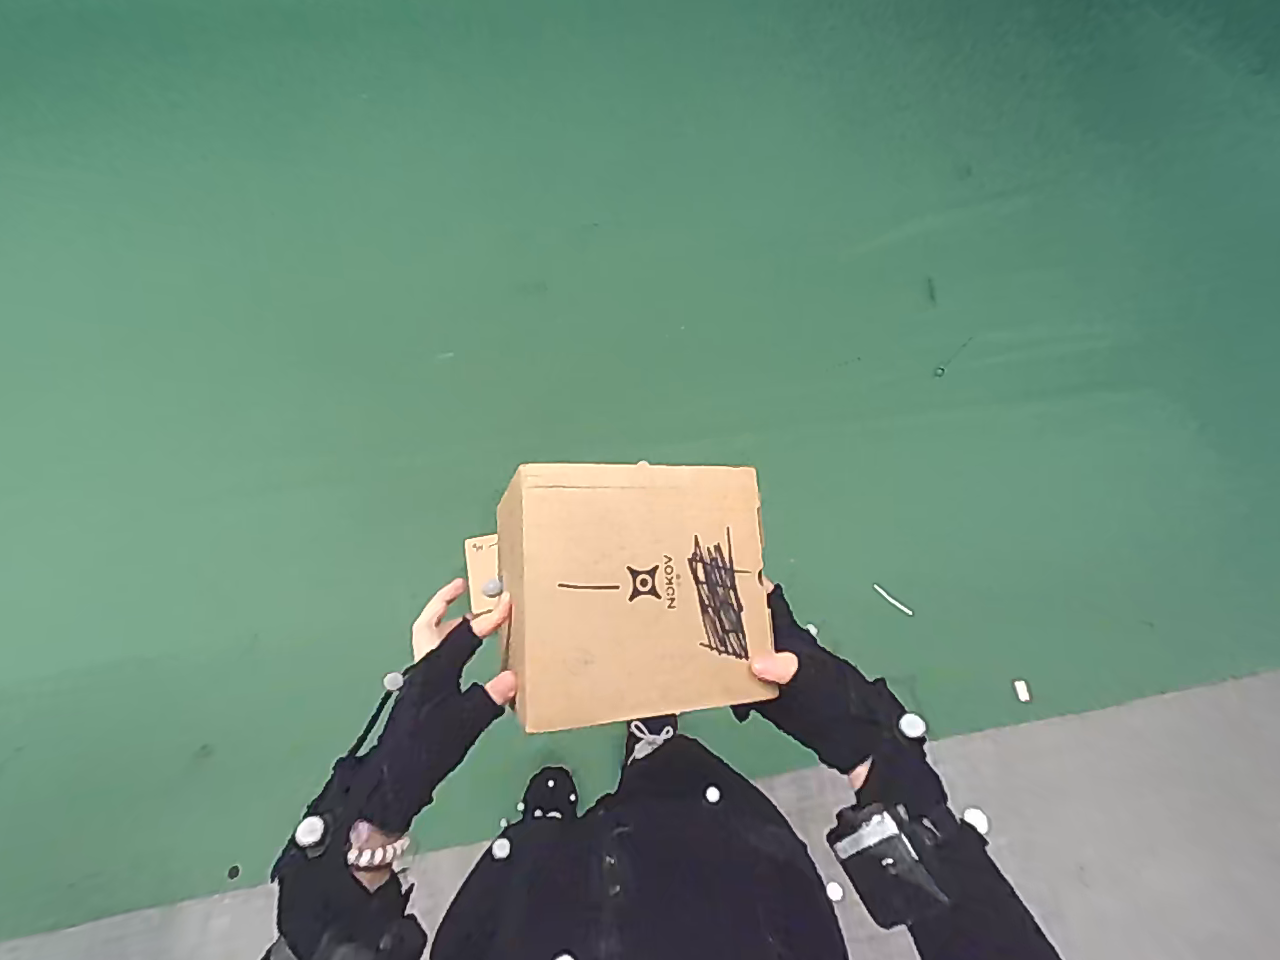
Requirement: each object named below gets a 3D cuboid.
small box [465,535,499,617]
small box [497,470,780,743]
[{"bbox_3d":[-0.312,0.231,1.303,0.168,0.176,0.179,-10,73,-7],"label":"small box"},{"bbox_3d":[-0.015,0.091,0.431,0.179,0.176,0.168,1,78,-20],"label":"small box"}]
